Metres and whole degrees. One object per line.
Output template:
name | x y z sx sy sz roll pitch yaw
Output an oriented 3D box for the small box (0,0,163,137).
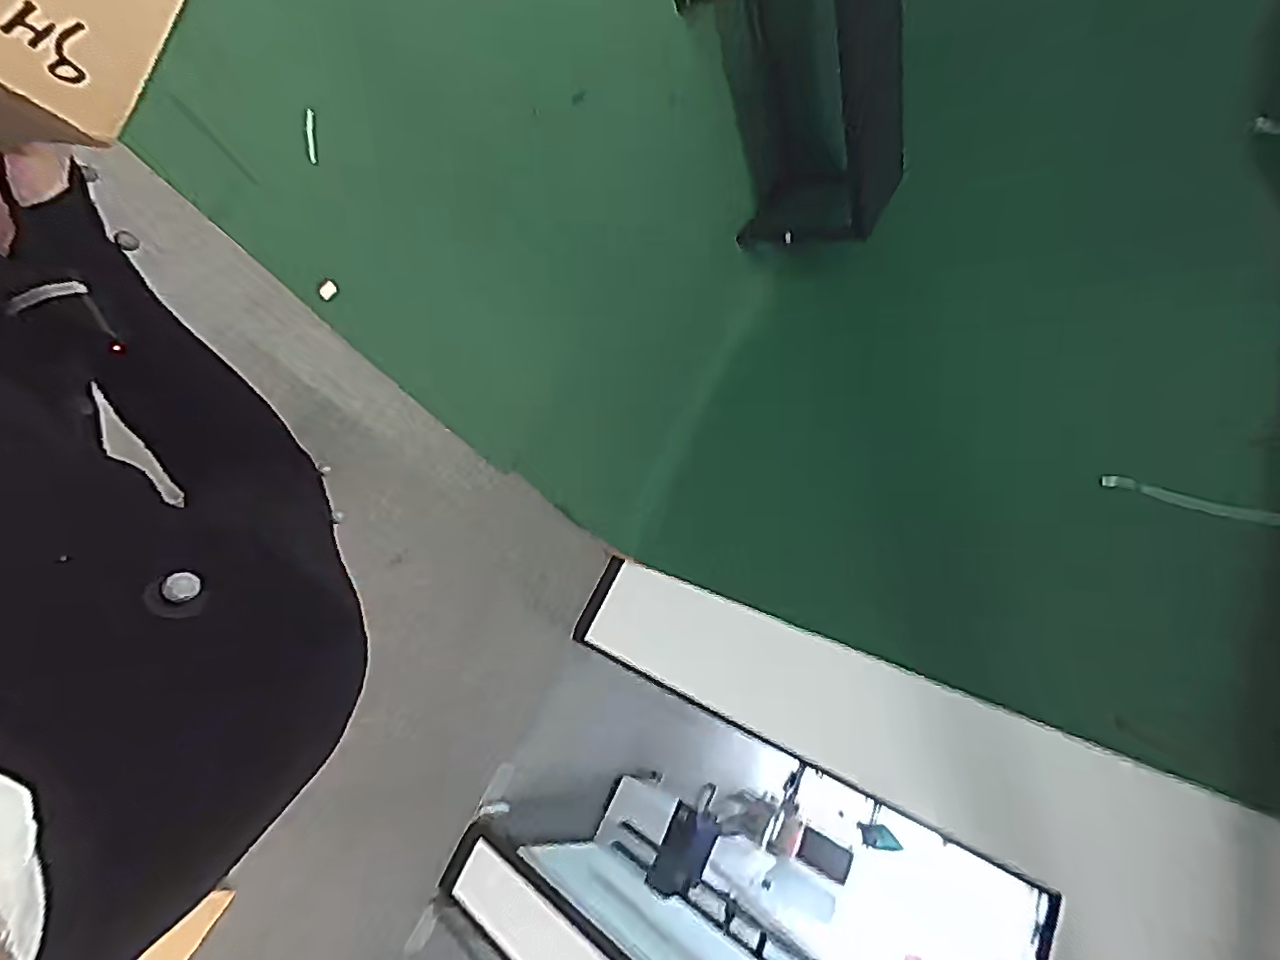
small box | -0.312 -0.276 0.216 0.168 0.176 0.179 25 89 -59
